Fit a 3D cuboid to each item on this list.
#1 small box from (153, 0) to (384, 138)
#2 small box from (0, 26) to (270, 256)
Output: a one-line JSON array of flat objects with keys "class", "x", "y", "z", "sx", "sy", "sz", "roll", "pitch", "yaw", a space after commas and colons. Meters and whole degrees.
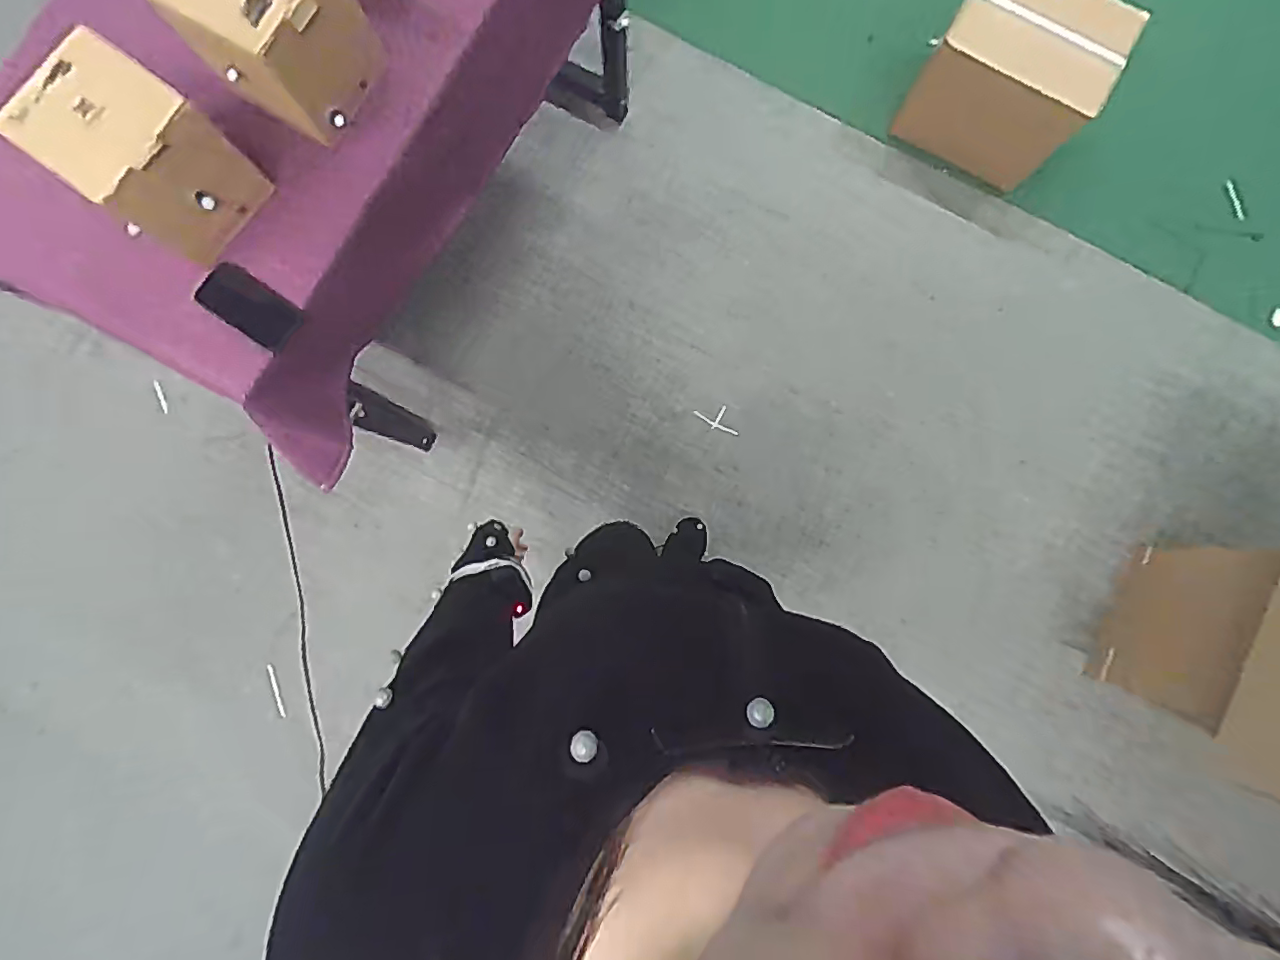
[{"class": "small box", "x": -0.499, "y": -0.625, "z": 0.753, "sx": 0.179, "sy": 0.176, "sz": 0.168, "roll": 29, "pitch": 85, "yaw": 3}, {"class": "small box", "x": -0.664, "y": -0.438, "z": 0.736, "sx": 0.179, "sy": 0.176, "sz": 0.168, "roll": 37, "pitch": 85, "yaw": 2}]
